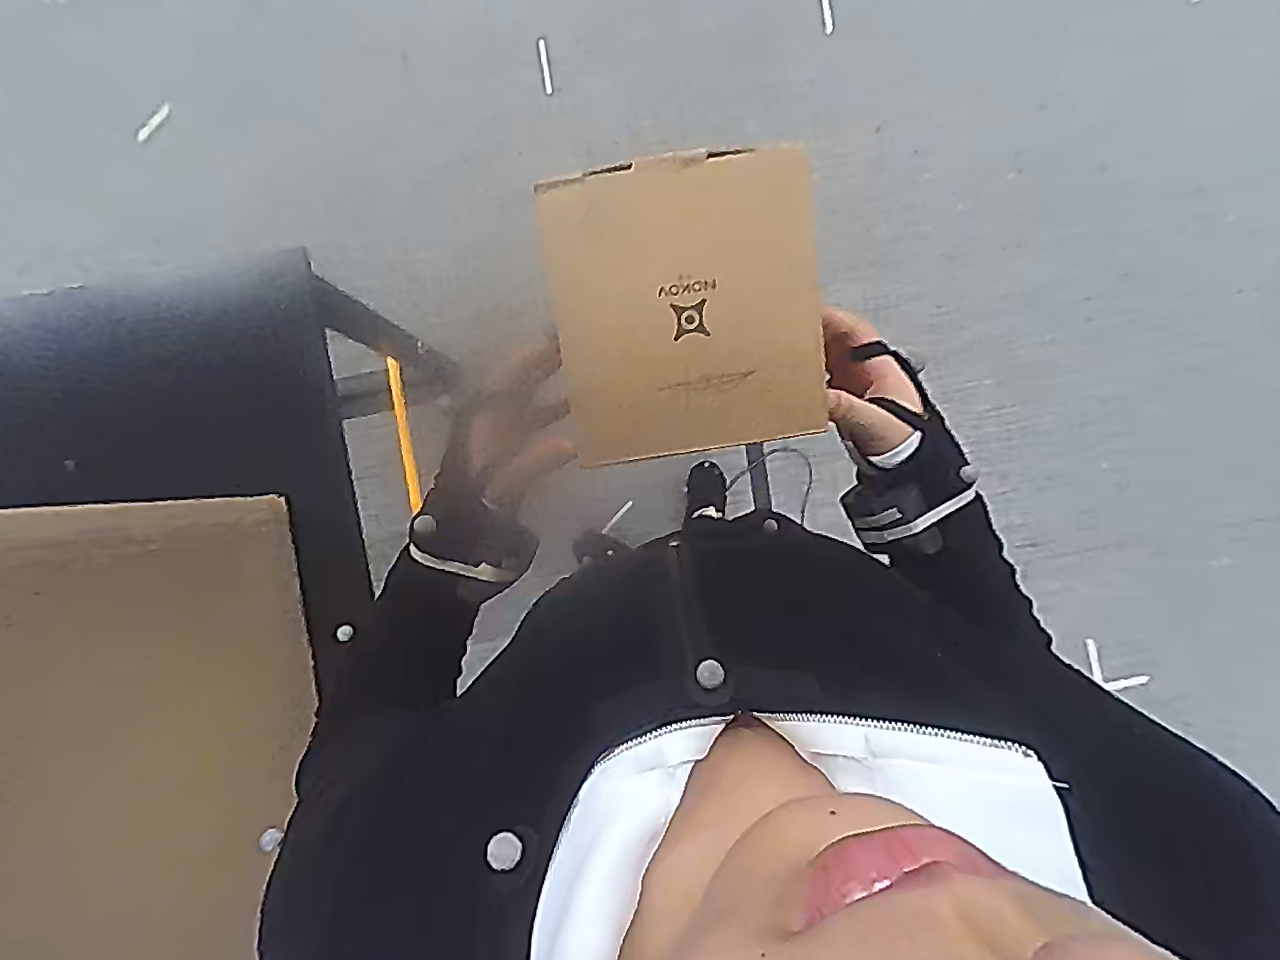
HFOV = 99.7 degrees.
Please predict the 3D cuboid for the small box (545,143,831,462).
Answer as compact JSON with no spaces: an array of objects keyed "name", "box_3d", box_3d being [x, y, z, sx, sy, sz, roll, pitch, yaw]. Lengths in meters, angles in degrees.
[{"name":"small box","box_3d":[0.030,-0.121,0.414,0.168,0.176,0.179,-8,102,0]}]
